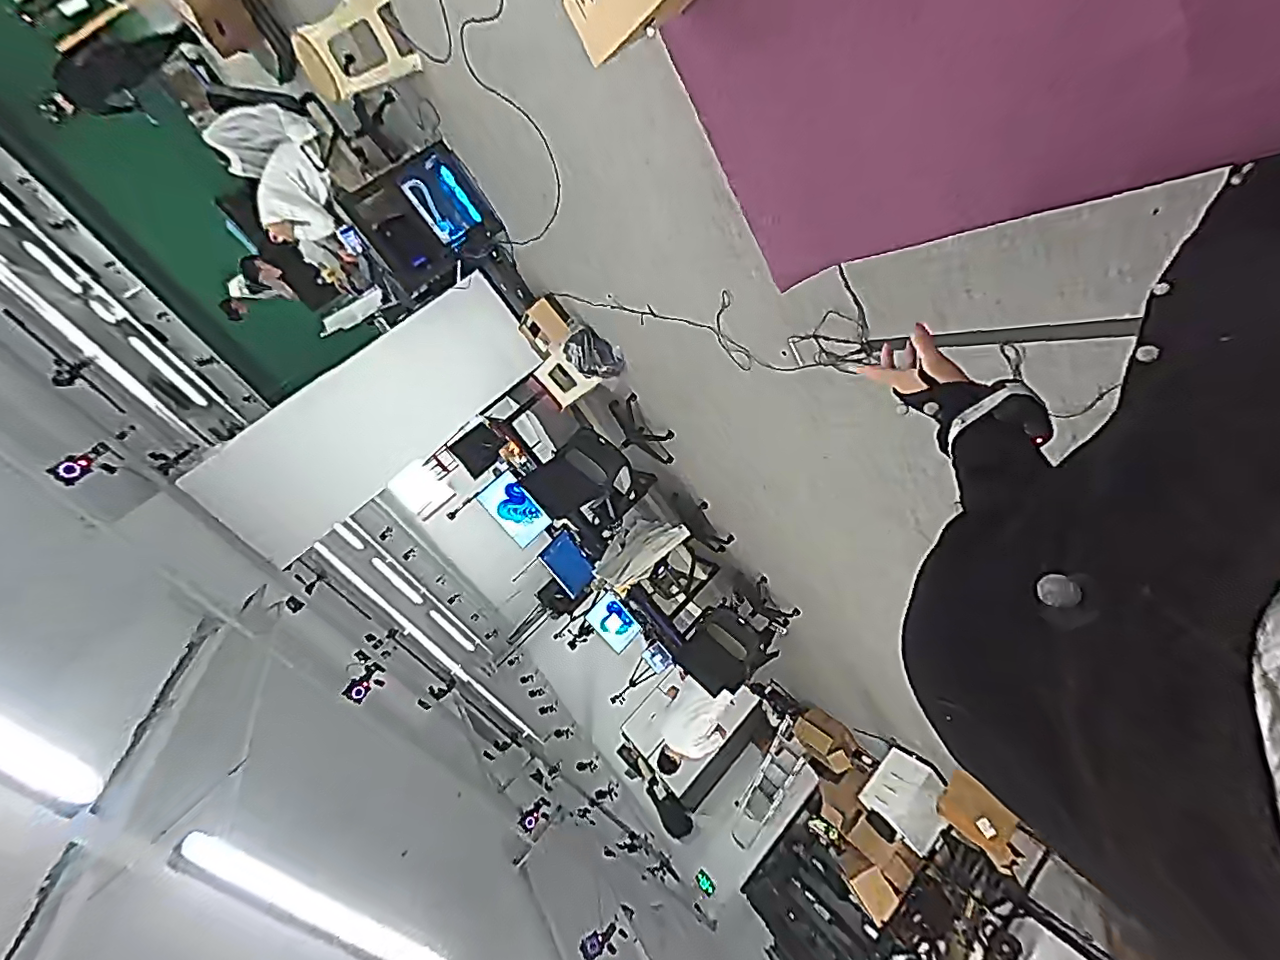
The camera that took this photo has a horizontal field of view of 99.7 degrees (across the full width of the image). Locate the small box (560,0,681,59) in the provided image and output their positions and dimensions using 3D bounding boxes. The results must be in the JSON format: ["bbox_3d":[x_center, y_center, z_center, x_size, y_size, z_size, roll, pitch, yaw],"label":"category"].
[{"bbox_3d":[-0.004,-0.635,0.609,0.168,0.176,0.179,53,161,-29],"label":"small box"}]
